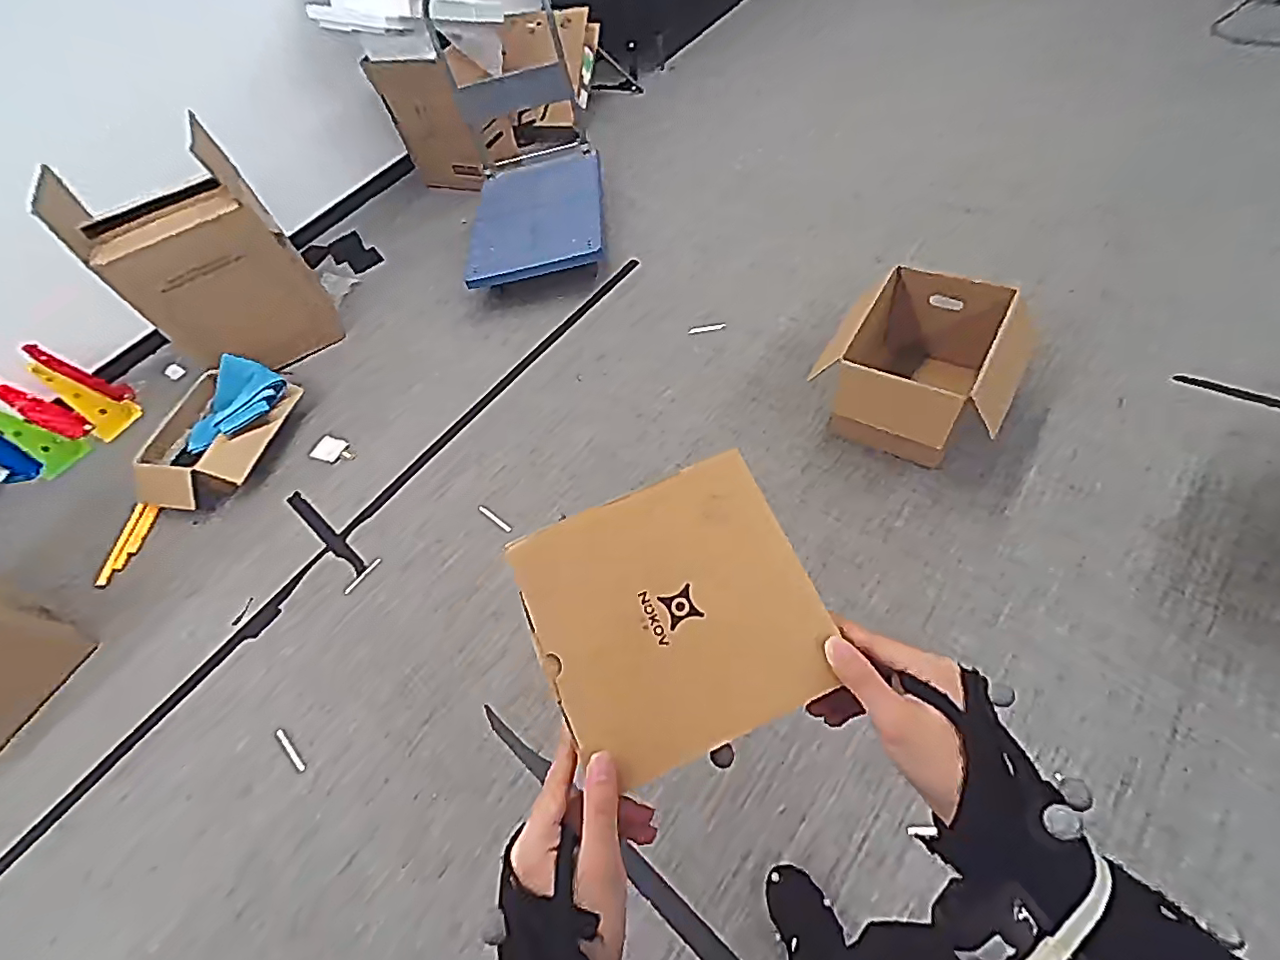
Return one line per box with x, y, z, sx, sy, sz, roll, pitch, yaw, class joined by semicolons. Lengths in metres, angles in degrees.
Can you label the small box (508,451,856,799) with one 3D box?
0.024;0.106;0.416;0.179;0.176;0.168;-24;71;-5;small box
